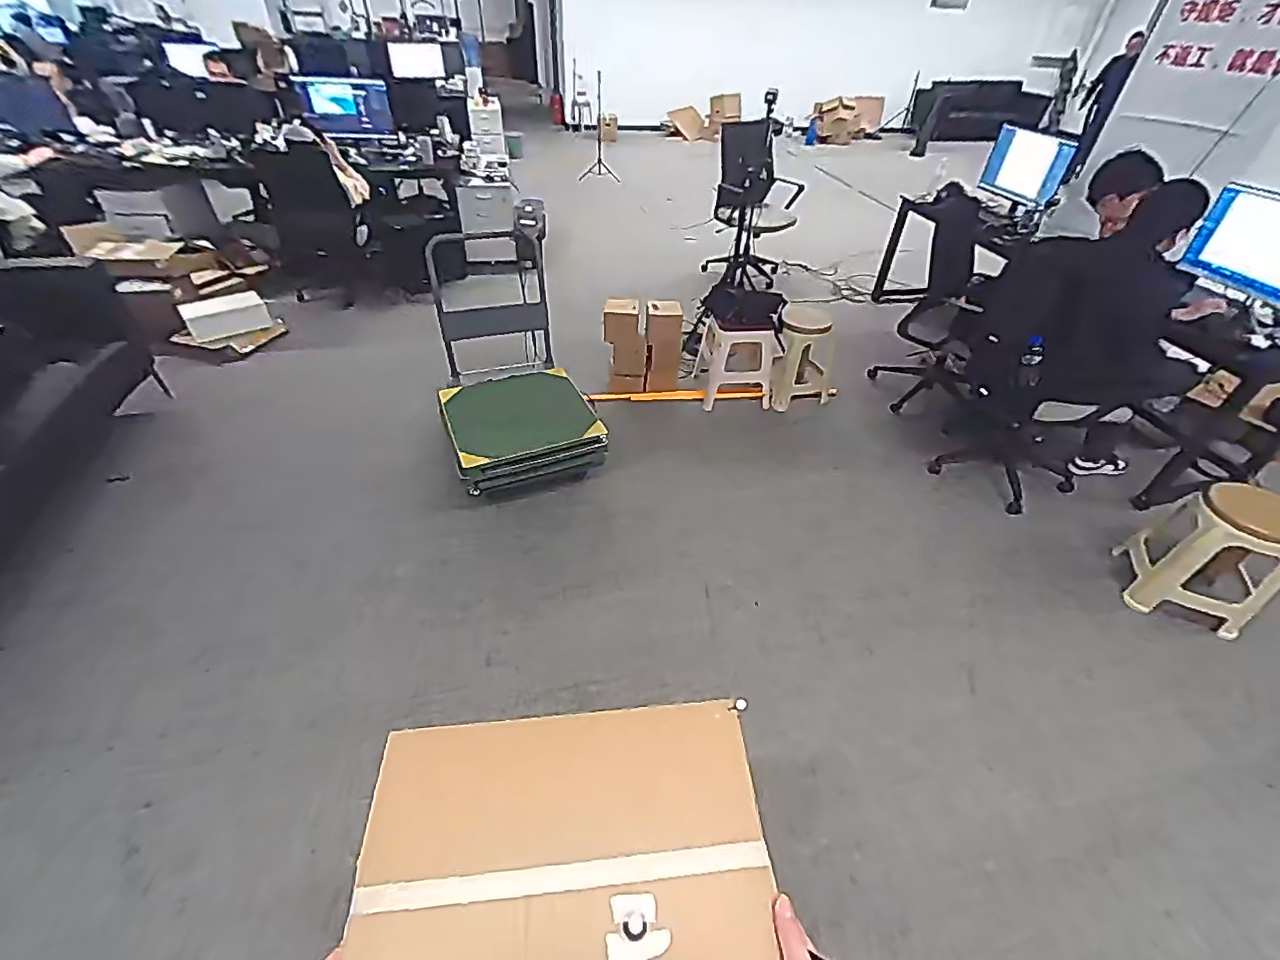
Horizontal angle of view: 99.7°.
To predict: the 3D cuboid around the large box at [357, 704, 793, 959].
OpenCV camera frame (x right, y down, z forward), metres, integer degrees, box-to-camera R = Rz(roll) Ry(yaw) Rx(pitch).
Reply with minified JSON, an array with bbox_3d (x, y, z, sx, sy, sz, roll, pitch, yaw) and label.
[{"bbox_3d":[-0.067,0.500,0.640,0.408,0.320,0.320,-4,47,-4],"label":"large box"}]
